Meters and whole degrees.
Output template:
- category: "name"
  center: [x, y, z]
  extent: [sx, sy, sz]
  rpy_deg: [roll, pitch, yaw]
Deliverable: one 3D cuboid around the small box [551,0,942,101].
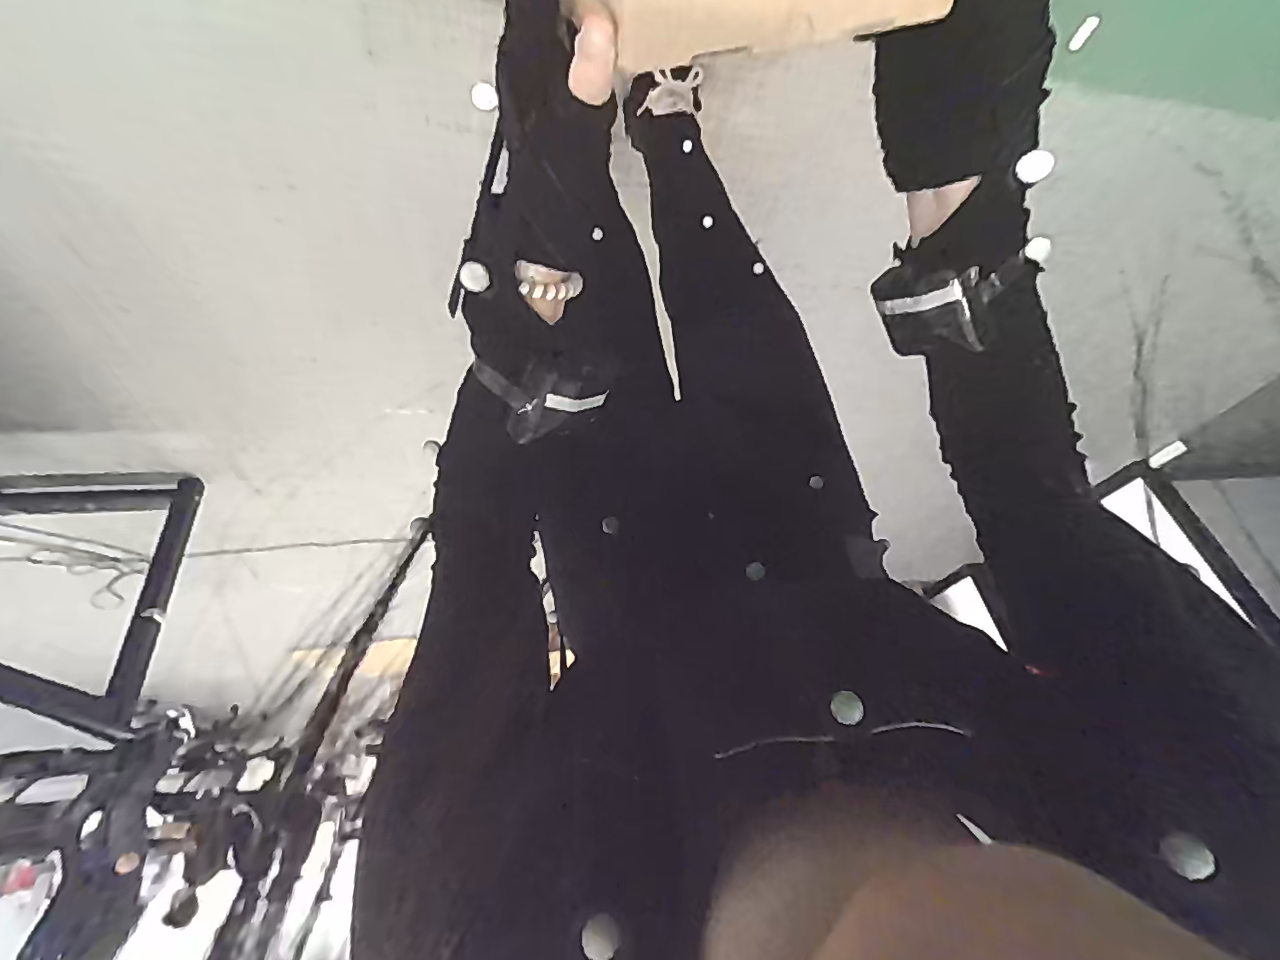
- category: "small box"
  center: [0.035, -0.299, 0.222]
  extent: [0.168, 0.176, 0.179]
  rpy_deg: [-19, 149, -12]
